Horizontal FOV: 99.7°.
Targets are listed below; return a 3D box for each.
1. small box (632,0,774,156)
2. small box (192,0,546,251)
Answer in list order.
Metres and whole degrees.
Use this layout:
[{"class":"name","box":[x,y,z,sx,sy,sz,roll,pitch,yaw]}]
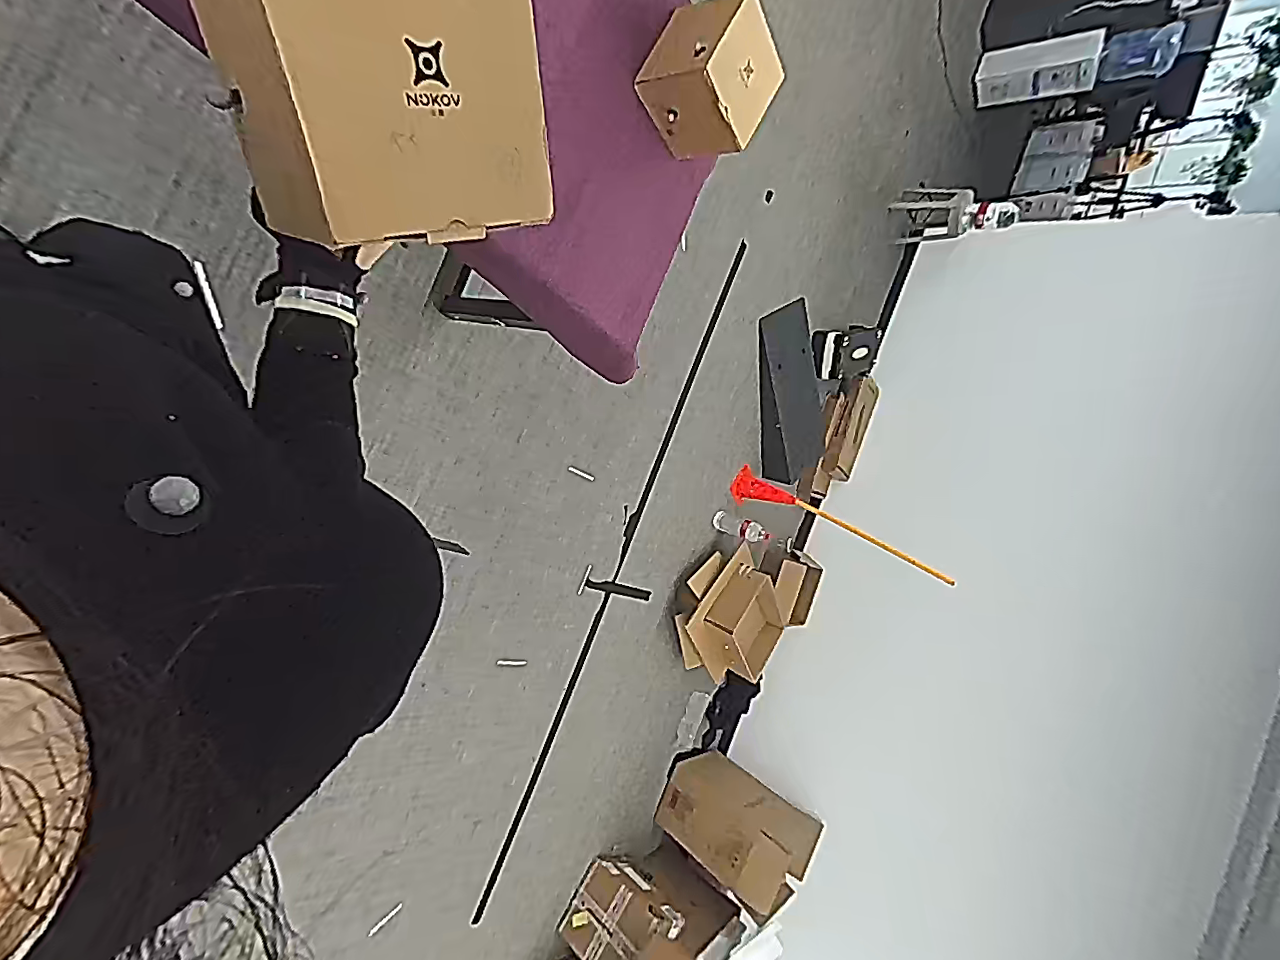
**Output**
[{"class":"small box","box":[0.115,-0.733,0.995,0.168,0.176,0.179,34,82,-51]},{"class":"small box","box":[-0.191,-0.278,0.395,0.168,0.176,0.179,-28,130,-35]}]
